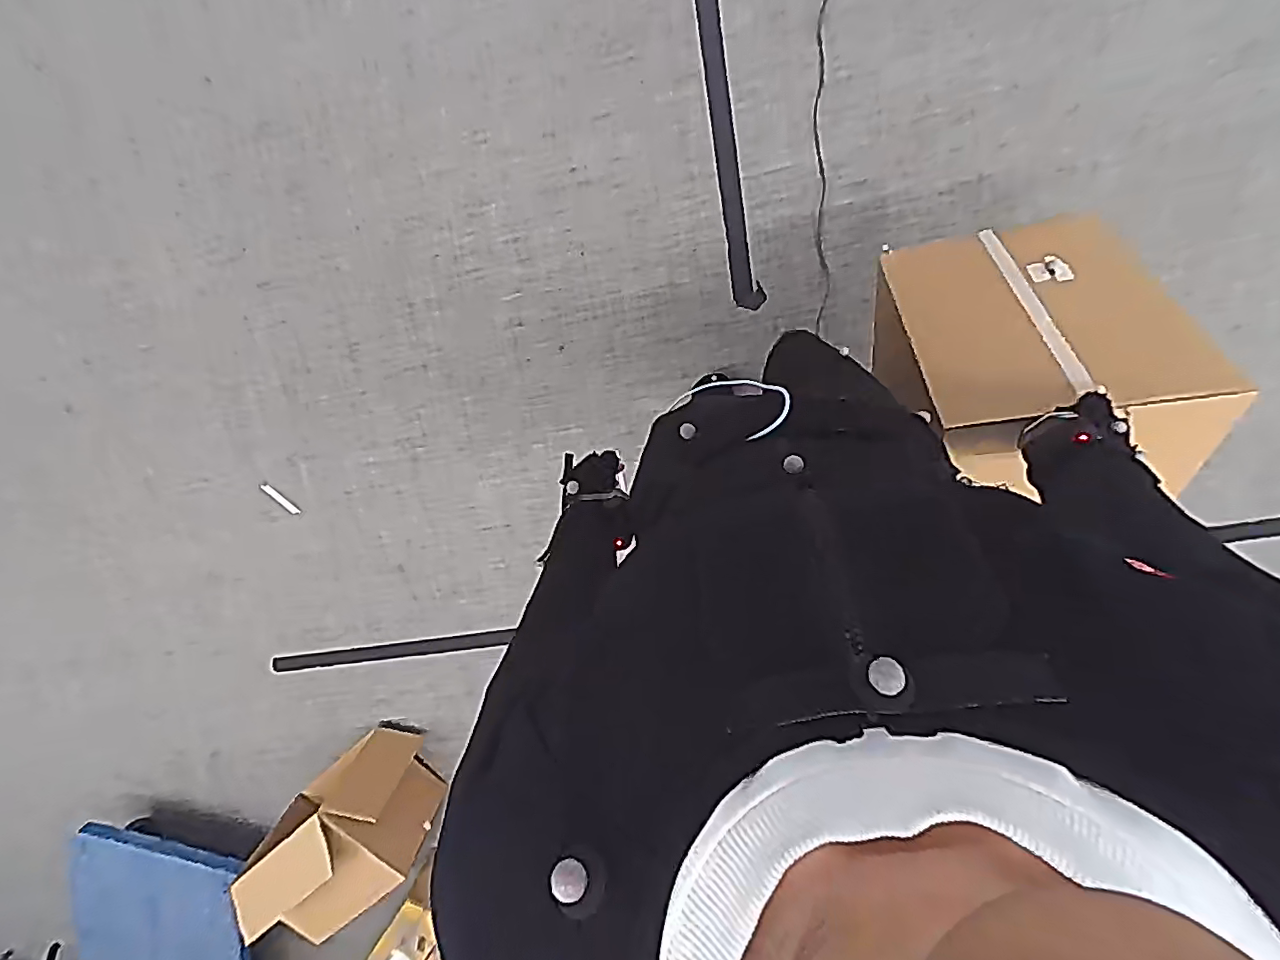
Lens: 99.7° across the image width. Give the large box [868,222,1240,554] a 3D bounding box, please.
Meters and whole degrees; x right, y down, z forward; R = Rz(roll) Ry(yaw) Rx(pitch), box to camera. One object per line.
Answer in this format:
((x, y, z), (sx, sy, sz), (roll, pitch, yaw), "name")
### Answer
((0.574, -0.139, 0.868), (0.320, 0.408, 0.320), (-6, 140, 13), "large box")
